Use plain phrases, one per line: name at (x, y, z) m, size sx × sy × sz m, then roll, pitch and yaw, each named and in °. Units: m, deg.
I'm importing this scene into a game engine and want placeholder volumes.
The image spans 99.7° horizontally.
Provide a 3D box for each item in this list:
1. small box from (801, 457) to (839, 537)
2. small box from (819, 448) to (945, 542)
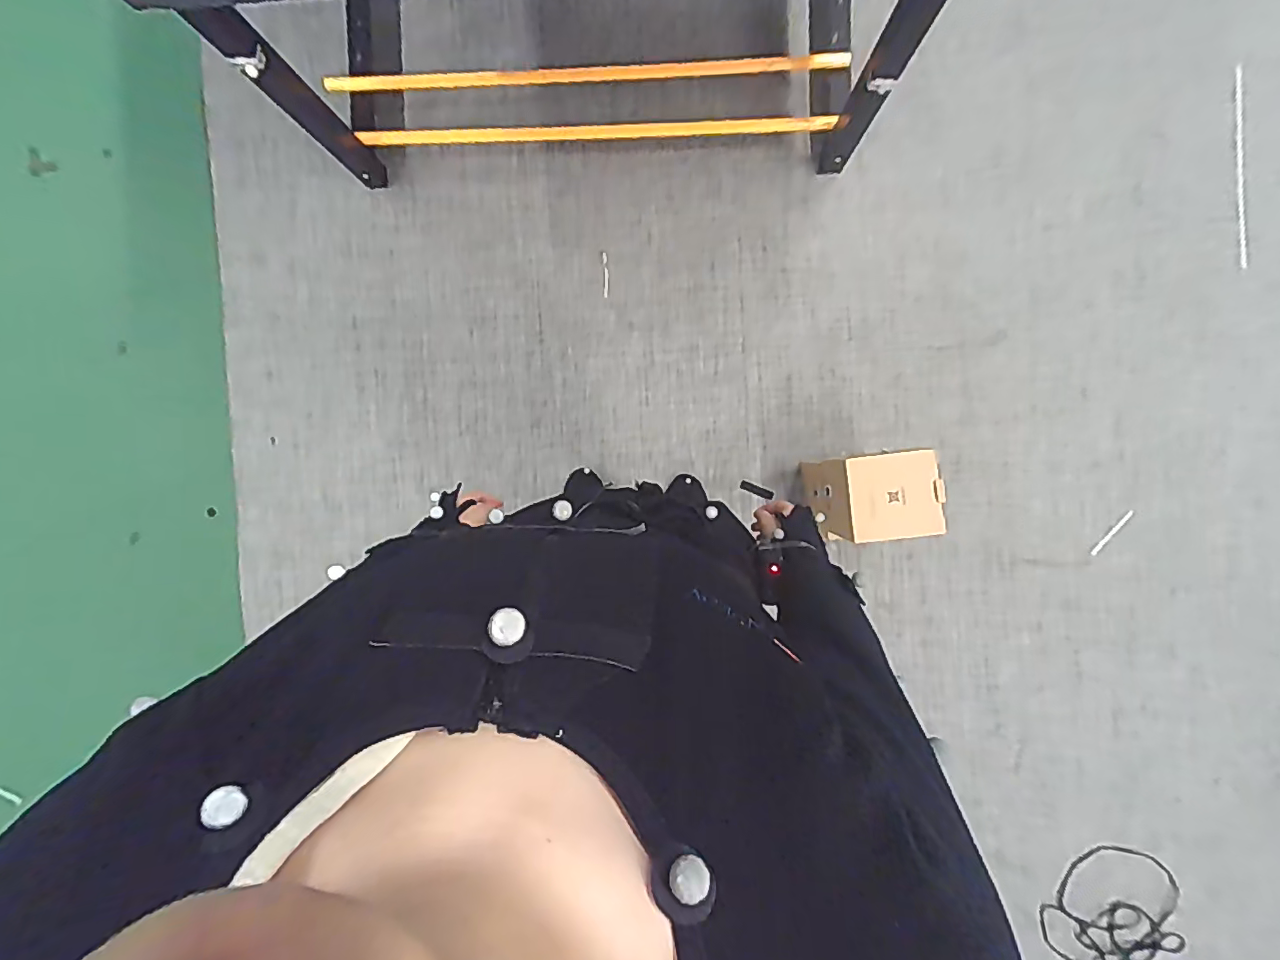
small box at (0.487, 0.031, 1.268) m, size 0.168 × 0.176 × 0.179 m, roll -7°, pitch 91°, yaw 2°
small box at (0.486, 0.026, 1.104) m, size 0.179 × 0.176 × 0.168 m, roll -8°, pitch 91°, yaw 3°
